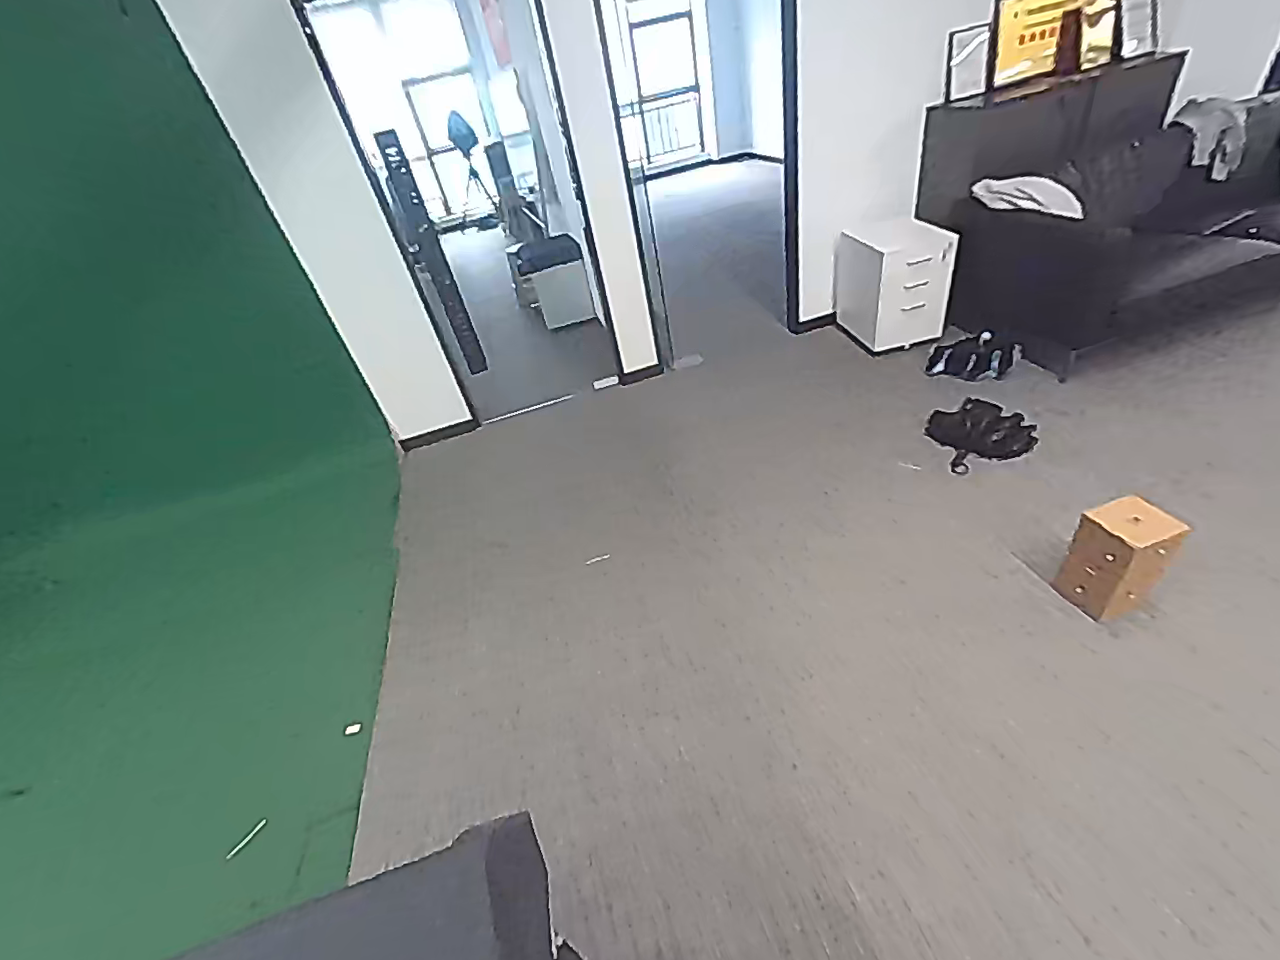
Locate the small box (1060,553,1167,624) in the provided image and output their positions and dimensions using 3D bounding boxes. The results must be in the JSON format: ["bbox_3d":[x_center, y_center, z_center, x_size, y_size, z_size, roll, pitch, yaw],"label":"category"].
[{"bbox_3d":[1.441,0.314,1.662,0.179,0.176,0.168,-19,37,-7],"label":"small box"}]

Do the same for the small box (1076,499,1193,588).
[{"bbox_3d":[1.413,0.187,1.565,0.179,0.176,0.168,-17,37,-8],"label":"small box"}]
